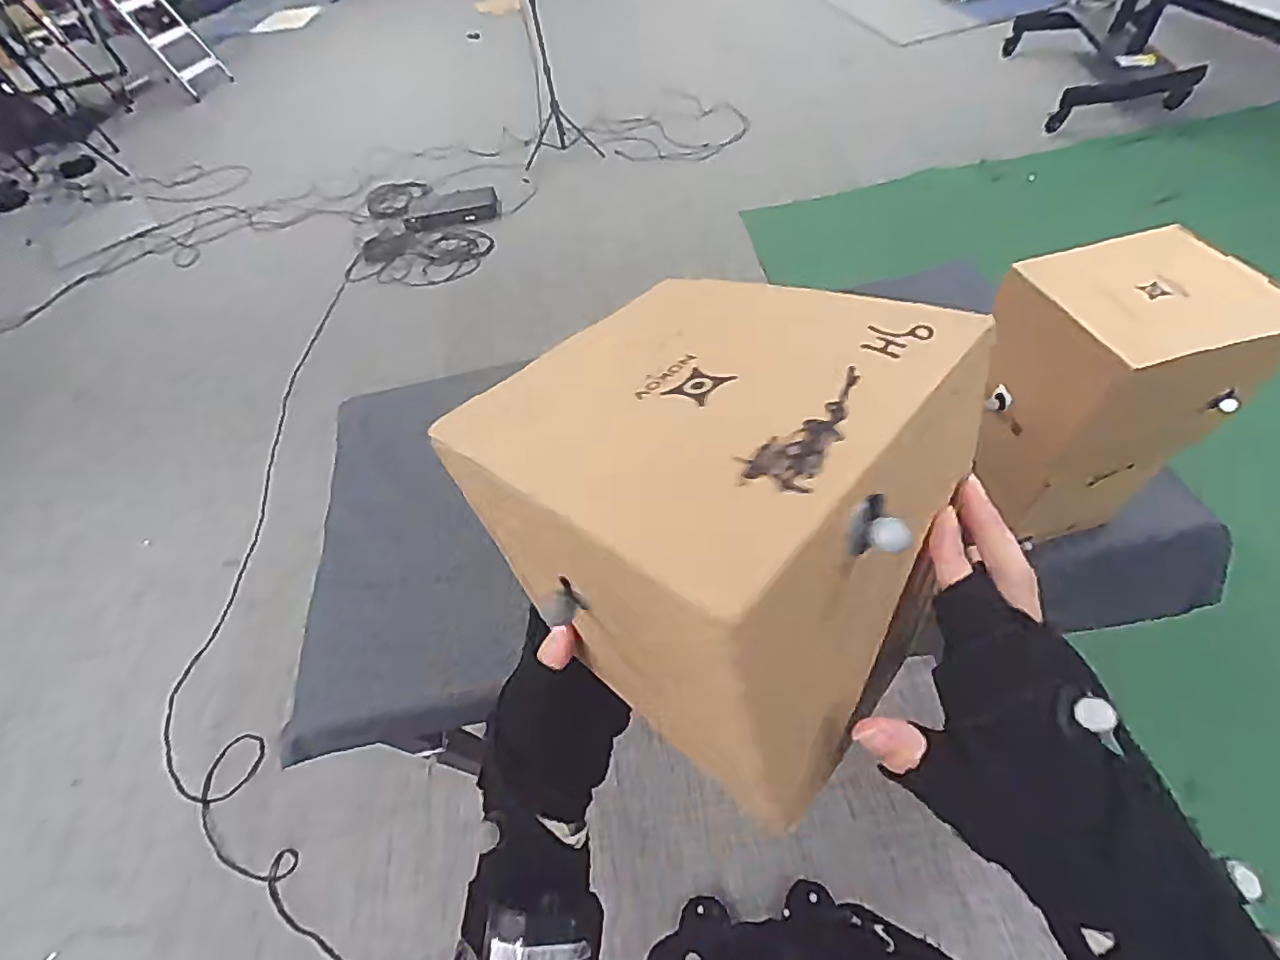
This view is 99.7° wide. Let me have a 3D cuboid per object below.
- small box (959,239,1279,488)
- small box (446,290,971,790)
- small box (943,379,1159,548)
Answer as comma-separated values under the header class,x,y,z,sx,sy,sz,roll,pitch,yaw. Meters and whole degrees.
class,x,y,z,sx,sy,sz,roll,pitch,yaw
small box,0.476,-0.116,0.567,0.179,0.176,0.168,-15,52,-1
small box,0.039,0.020,0.286,0.179,0.176,0.168,24,54,39
small box,0.495,-0.029,0.702,0.168,0.176,0.179,-15,53,-3
